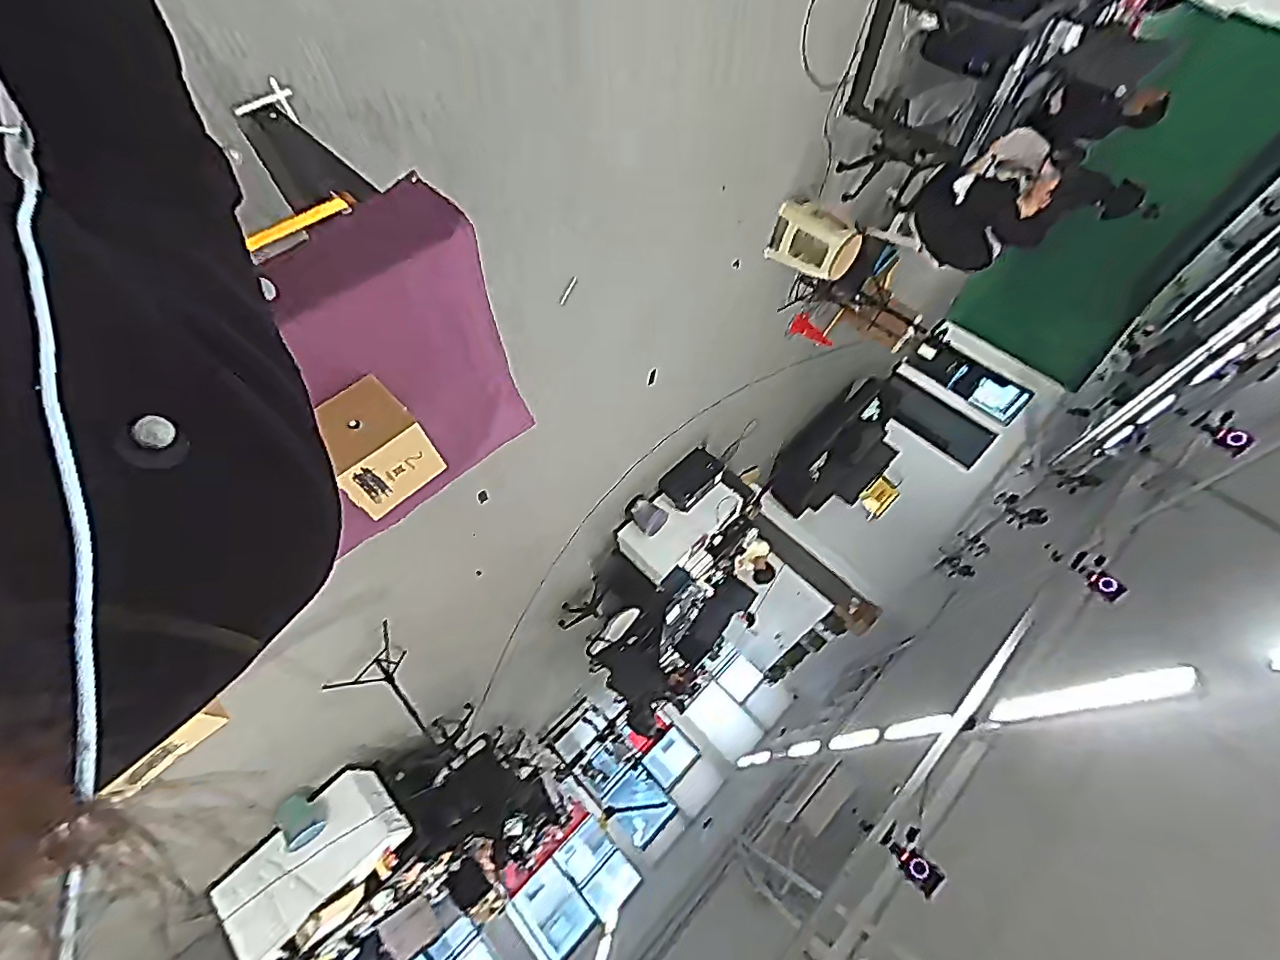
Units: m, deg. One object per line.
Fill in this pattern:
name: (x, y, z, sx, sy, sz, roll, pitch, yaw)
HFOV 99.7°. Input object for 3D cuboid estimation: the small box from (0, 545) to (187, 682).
small box: (-0.894, 0.229, 0.858, 0.168, 0.176, 0.179, -40, 158, -20)

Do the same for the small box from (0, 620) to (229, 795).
small box: (-0.780, 0.336, 0.808, 0.168, 0.176, 0.179, -41, 157, -20)
